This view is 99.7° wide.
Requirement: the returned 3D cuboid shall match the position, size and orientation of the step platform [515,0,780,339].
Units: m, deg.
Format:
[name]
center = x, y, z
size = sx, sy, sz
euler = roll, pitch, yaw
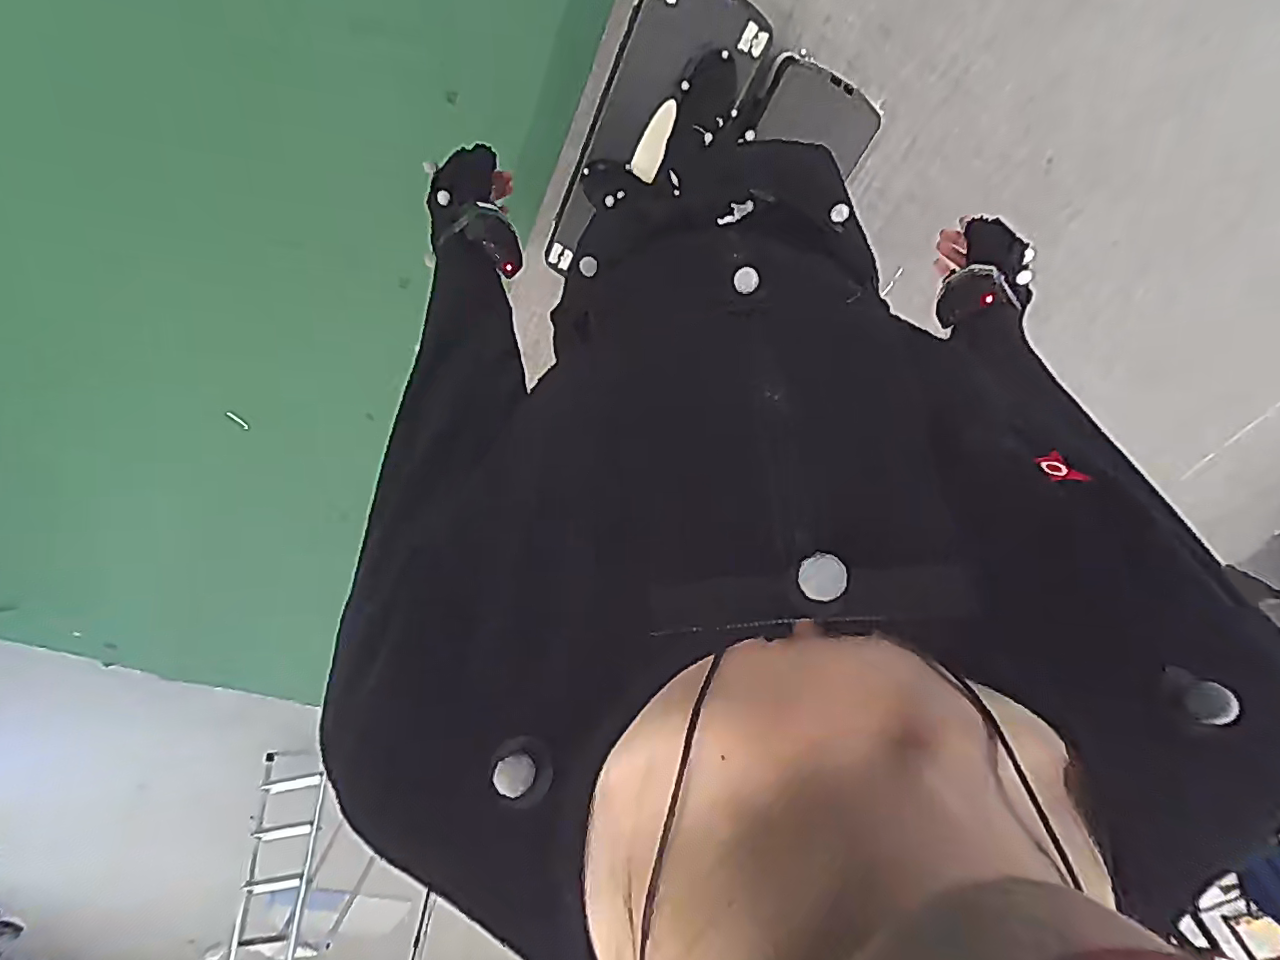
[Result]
[step platform]
center = -0.018, -0.656, 1.111
size = 0.286, 0.204, 0.684
euler = 20, 125, -18
